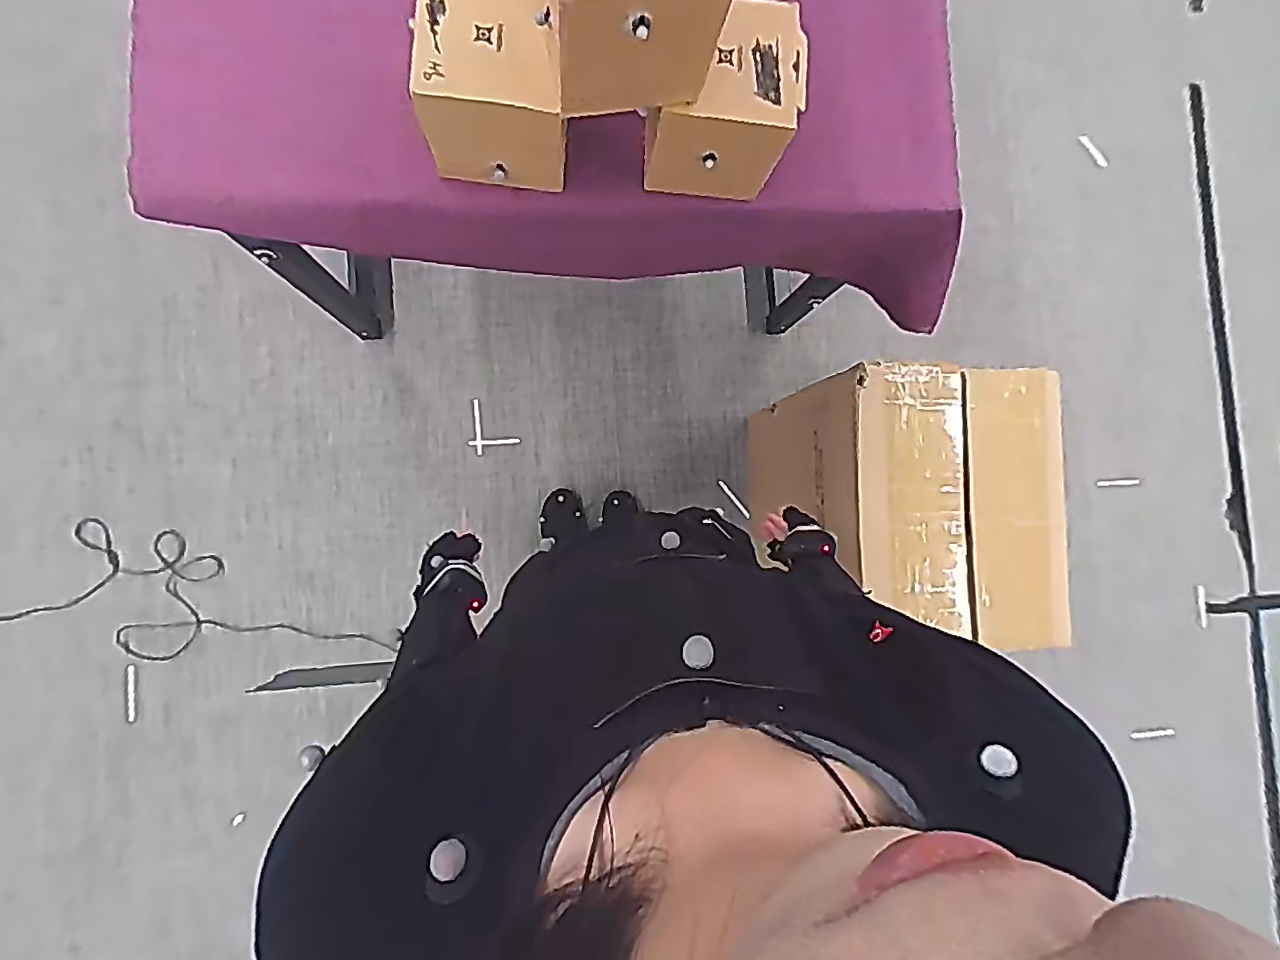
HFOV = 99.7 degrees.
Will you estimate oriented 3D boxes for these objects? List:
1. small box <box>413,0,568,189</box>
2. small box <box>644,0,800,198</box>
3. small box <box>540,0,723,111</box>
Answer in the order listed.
[{"bbox_3d":[-0.183,-0.517,0.718,0.179,0.176,0.168,4,86,-8],"label":"small box"},{"bbox_3d":[0.106,-0.521,0.755,0.179,0.176,0.168,2,86,-6],"label":"small box"},{"bbox_3d":[-0.016,-0.531,0.576,0.179,0.176,0.168,-12,90,-8],"label":"small box"}]
